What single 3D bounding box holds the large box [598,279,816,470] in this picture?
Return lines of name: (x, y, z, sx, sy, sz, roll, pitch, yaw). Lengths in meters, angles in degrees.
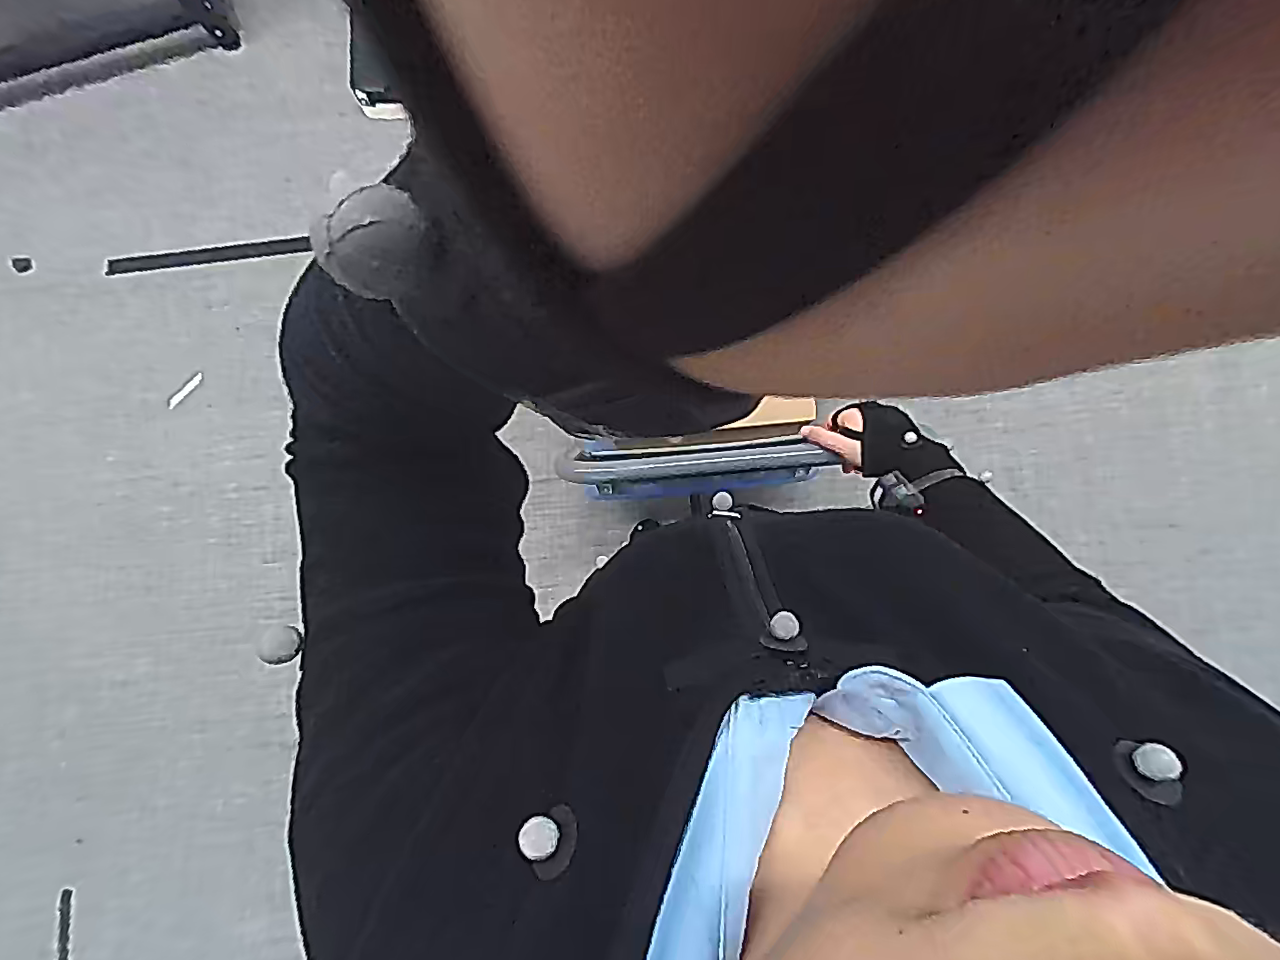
large box: (0.130, -0.211, 1.200, 0.408, 0.320, 0.320, -5, 85, 1)
